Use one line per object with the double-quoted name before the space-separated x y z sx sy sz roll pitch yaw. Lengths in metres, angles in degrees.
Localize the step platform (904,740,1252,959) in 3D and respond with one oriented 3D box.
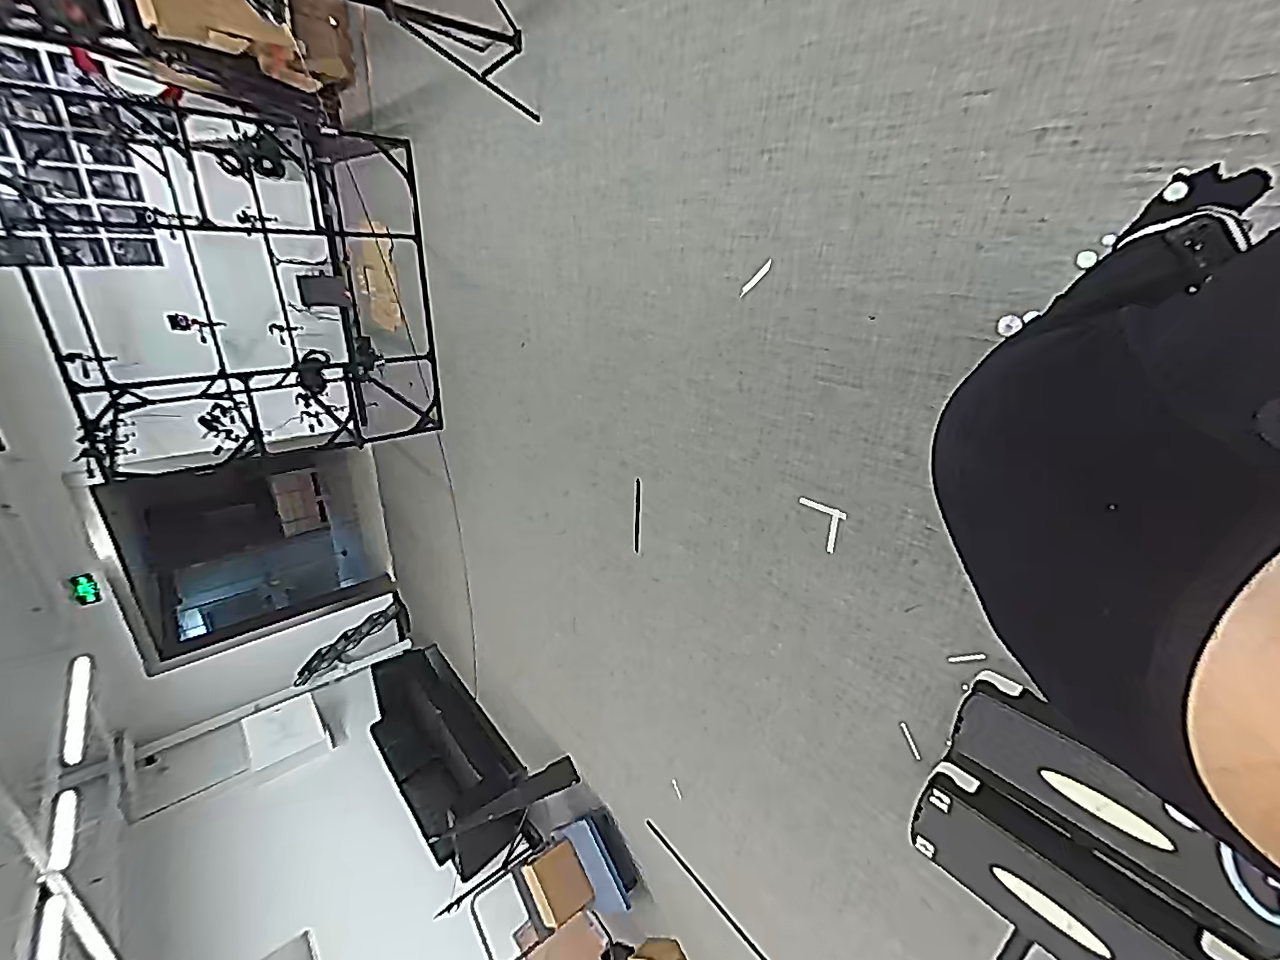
"step platform" 1.067 1.025 1.410 0.684 0.204 0.286 26 123 45
